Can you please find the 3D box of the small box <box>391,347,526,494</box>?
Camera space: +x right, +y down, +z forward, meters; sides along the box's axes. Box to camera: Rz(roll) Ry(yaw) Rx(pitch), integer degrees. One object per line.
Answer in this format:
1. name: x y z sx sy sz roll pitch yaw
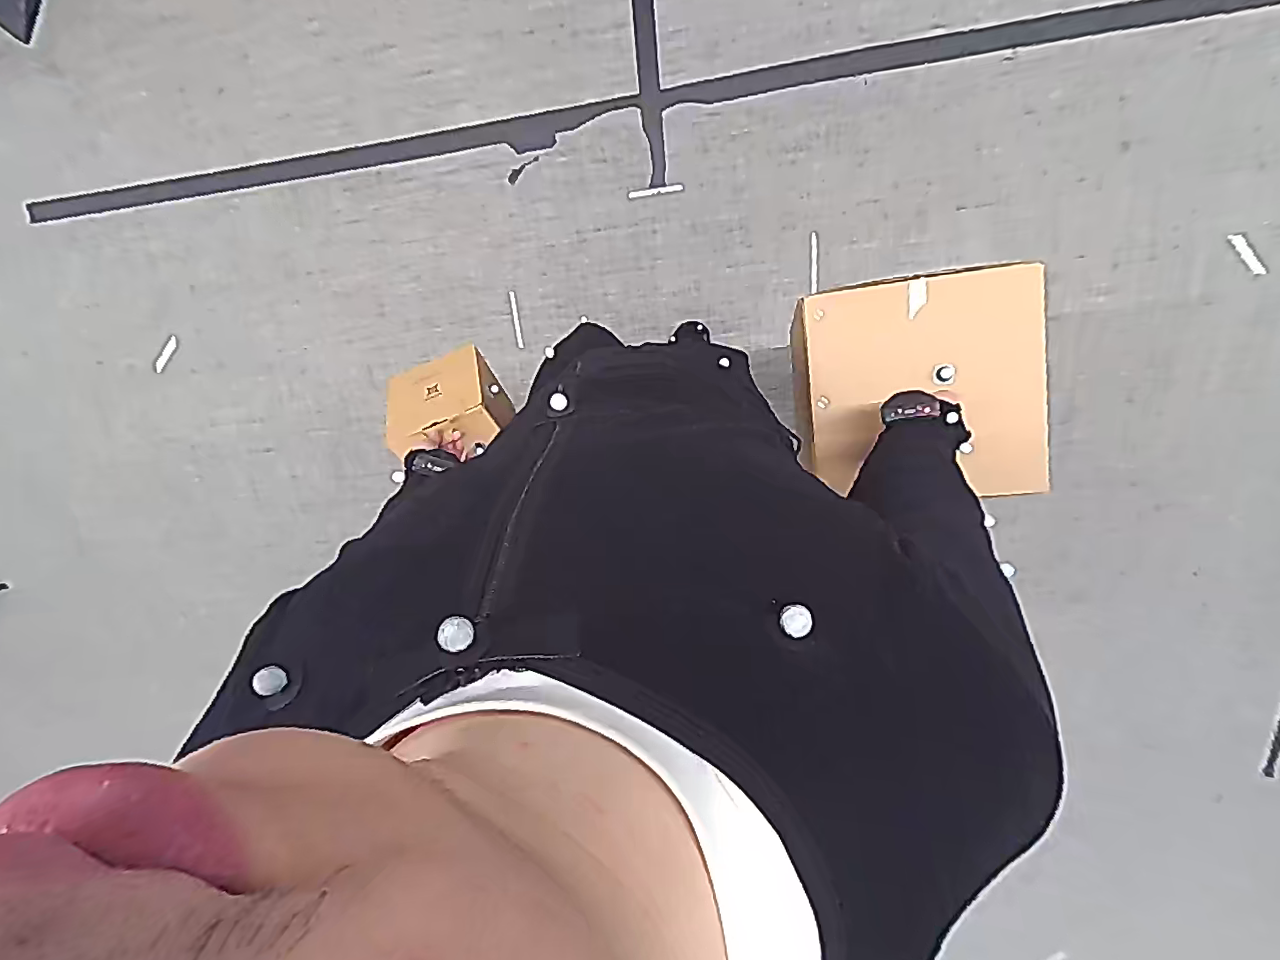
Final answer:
1. small box: -0.317 -0.097 0.963 0.168 0.179 0.176 -22 140 2
